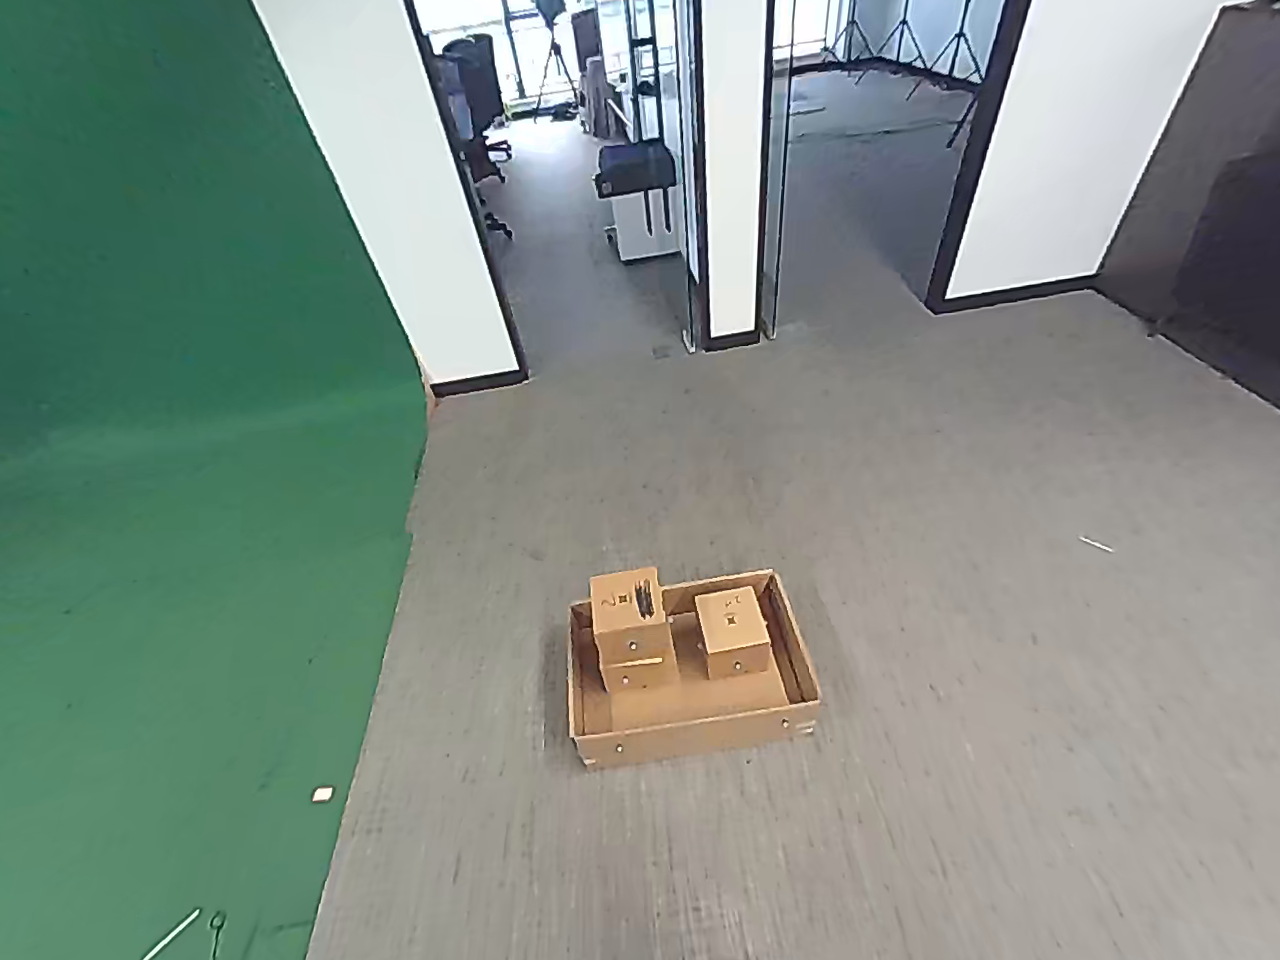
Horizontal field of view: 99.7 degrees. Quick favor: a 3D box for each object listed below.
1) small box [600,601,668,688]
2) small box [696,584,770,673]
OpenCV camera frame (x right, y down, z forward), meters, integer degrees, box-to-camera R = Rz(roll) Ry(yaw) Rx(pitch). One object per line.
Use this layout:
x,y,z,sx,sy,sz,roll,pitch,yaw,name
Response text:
-0.015,0.461,1.499,0.168,0.176,0.179,-6,45,2,small box
0.255,0.416,1.496,0.168,0.176,0.179,-9,45,0,small box
